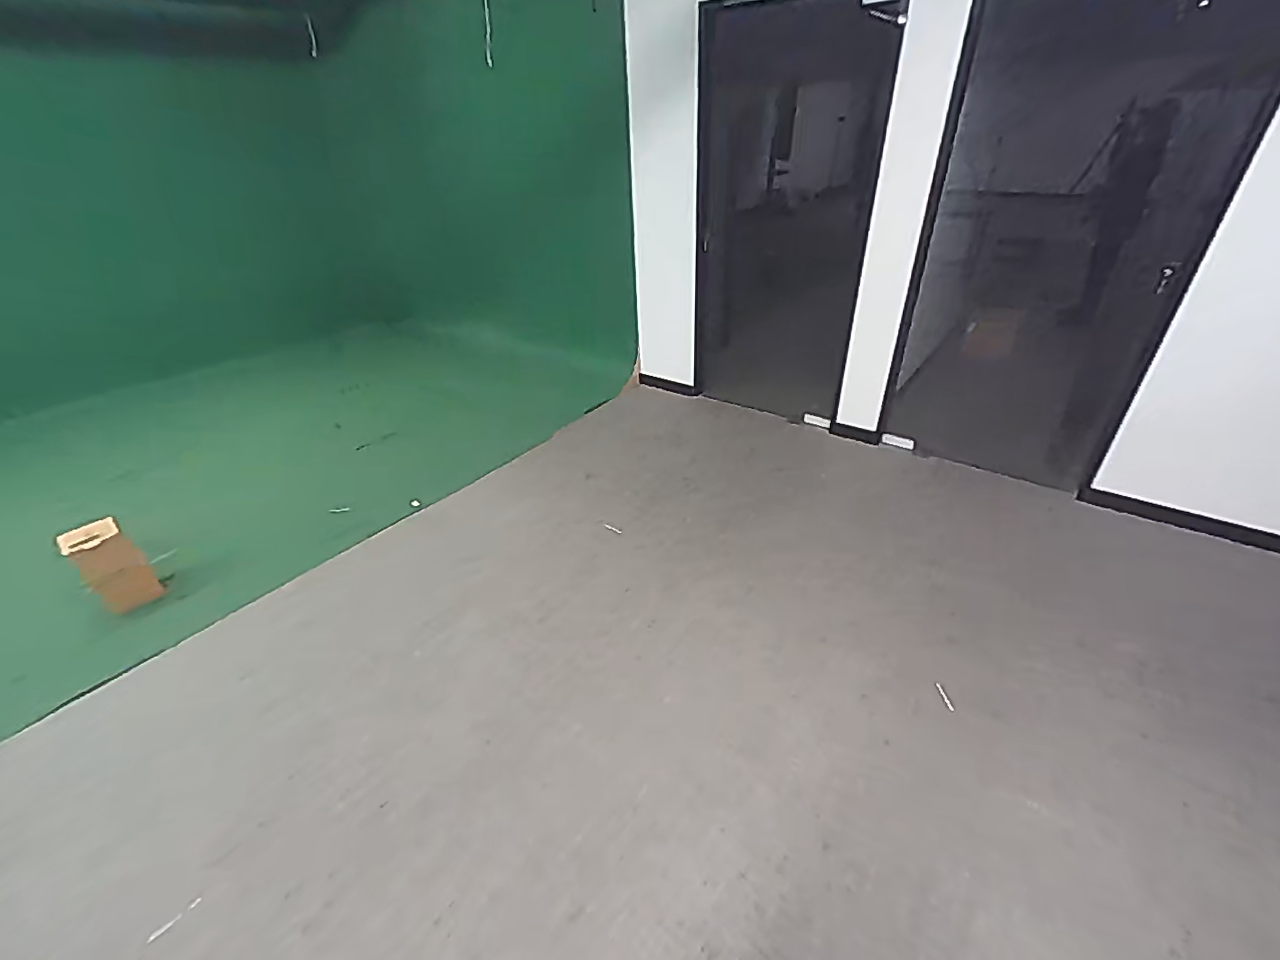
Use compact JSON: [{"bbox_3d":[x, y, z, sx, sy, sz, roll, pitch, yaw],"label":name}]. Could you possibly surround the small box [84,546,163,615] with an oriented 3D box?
[{"bbox_3d":[-2.068,0.404,2.173,0.168,0.176,0.179,25,42,35],"label":"small box"}]
